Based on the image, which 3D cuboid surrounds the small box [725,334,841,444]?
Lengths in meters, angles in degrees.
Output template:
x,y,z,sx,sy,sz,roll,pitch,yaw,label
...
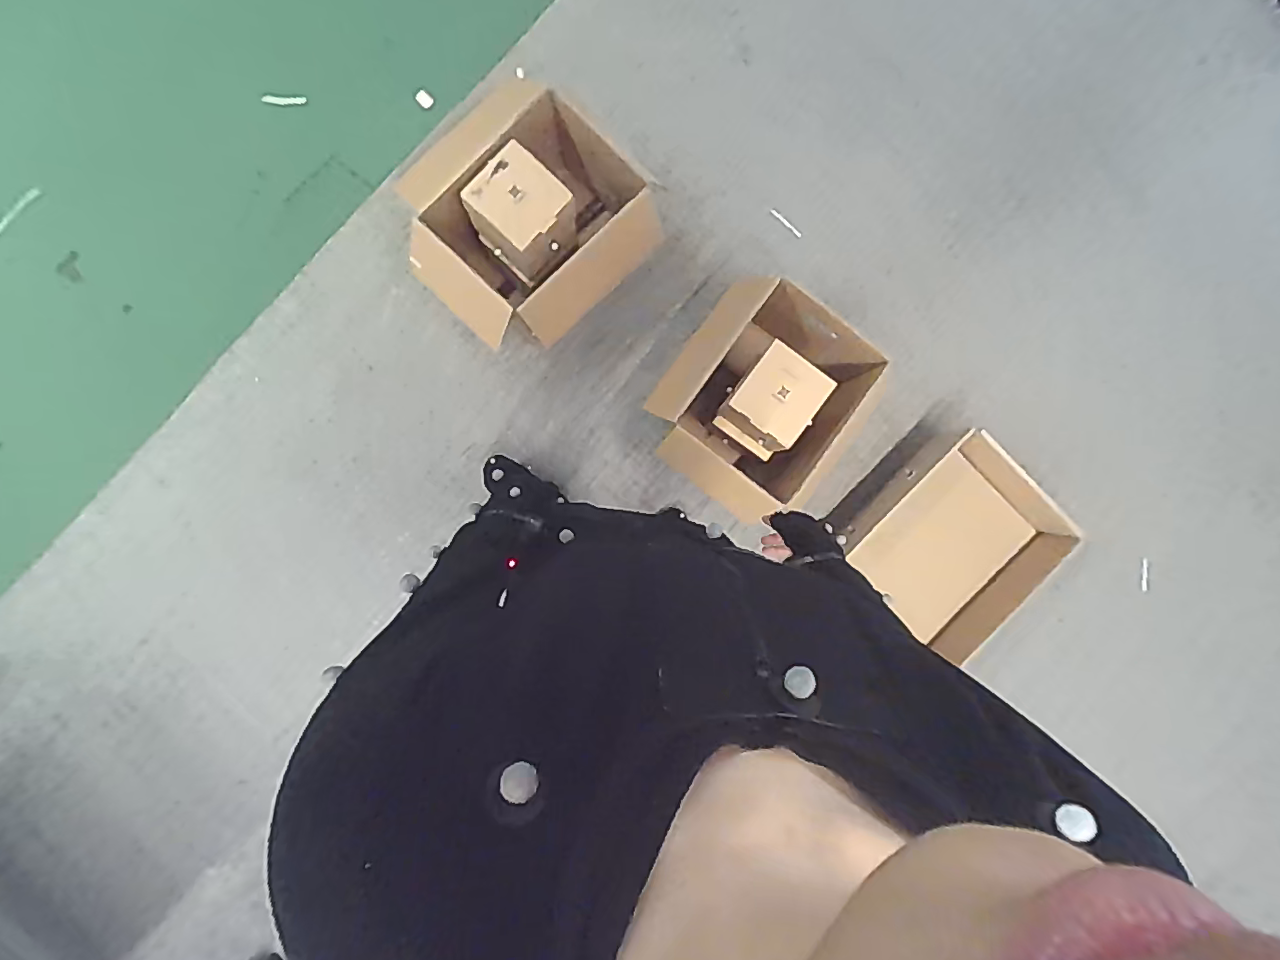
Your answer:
x,y,z,sx,sy,sz,roll,pitch,yaw,label
0.308,-0.193,1.214,0.168,0.176,0.179,37,91,-2,small box
